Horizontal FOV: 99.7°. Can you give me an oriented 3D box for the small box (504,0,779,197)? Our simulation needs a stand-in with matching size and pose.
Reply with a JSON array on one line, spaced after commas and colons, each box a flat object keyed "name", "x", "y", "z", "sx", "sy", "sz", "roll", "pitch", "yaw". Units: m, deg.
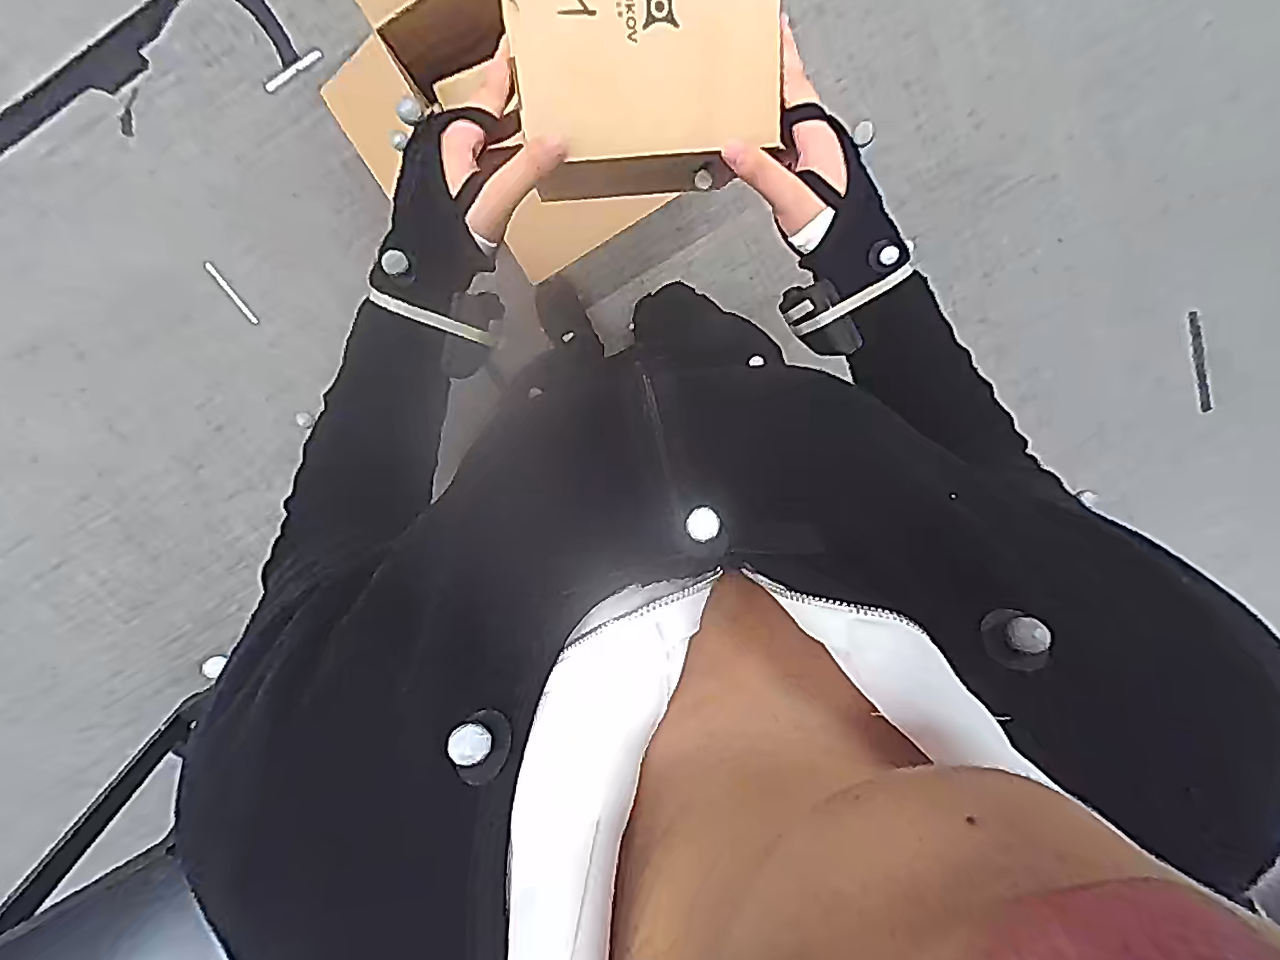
[{"name": "small box", "x": -0.006, "y": -0.324, "z": 0.414, "sx": 0.179, "sy": 0.176, "sz": 0.168, "roll": -6, "pitch": 110, "yaw": -4}]
